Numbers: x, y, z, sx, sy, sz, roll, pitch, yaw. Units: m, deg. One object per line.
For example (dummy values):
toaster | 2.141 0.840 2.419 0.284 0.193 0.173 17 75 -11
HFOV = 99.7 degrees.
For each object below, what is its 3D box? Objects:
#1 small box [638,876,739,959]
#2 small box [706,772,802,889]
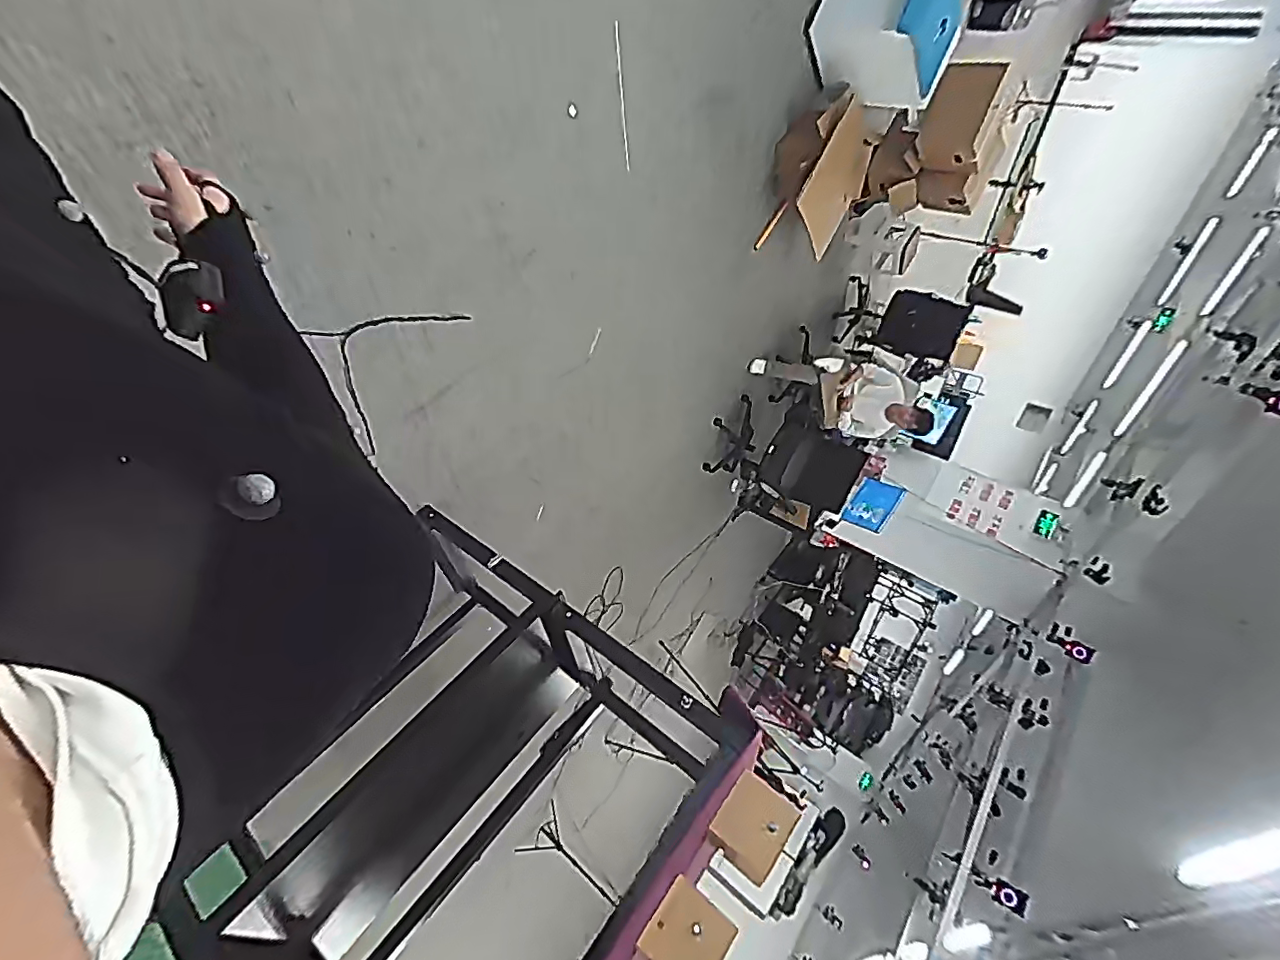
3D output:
small box | 0.108 1.052 1.237 0.168 0.176 0.179 -43 148 -31
small box | 0.288 0.891 1.384 0.179 0.176 0.168 -42 146 -30
